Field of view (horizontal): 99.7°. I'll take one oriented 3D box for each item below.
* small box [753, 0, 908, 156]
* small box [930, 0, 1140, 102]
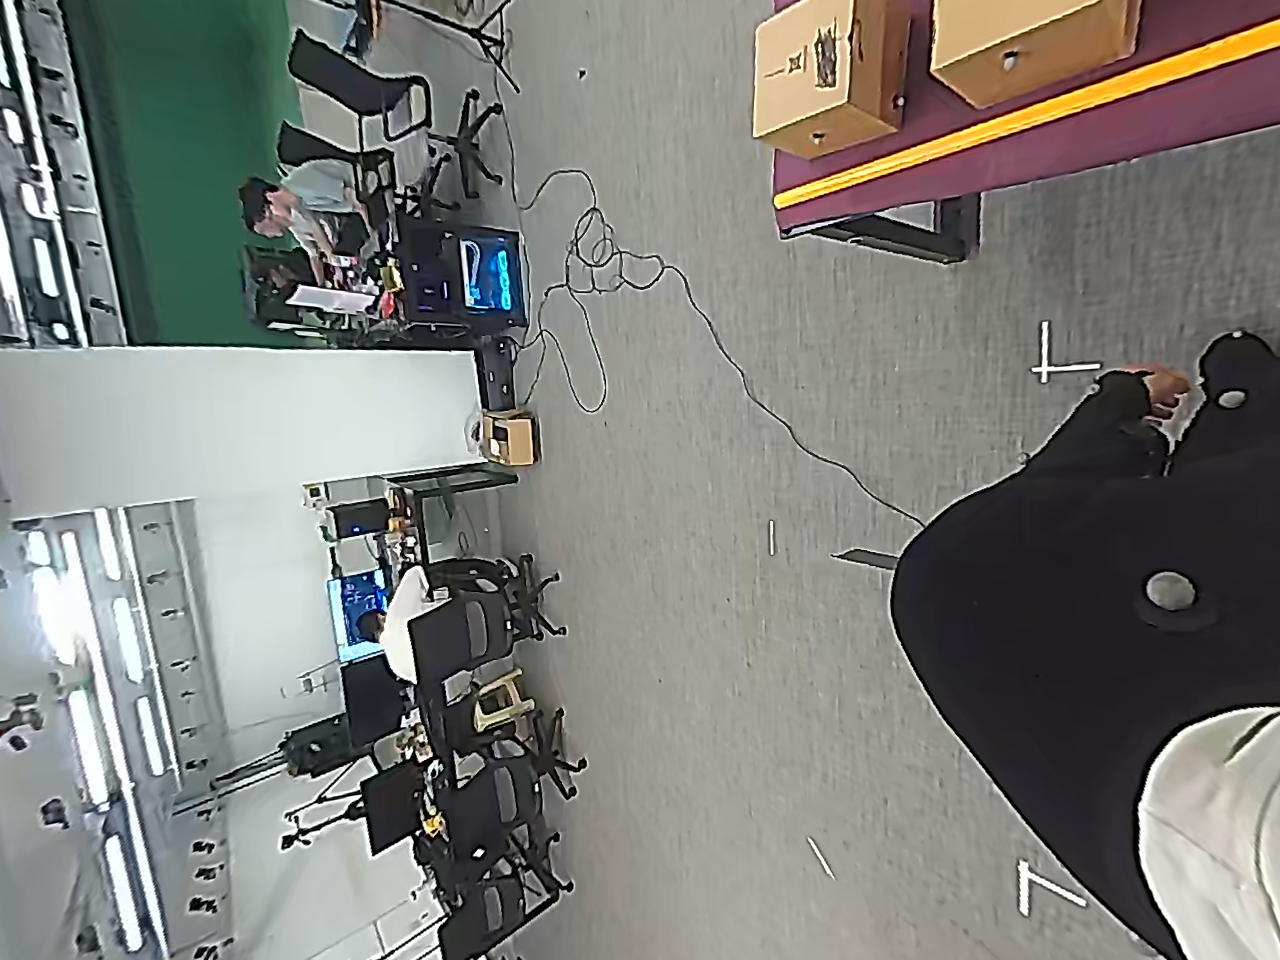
[{"bbox_3d":[0.305,-0.647,0.869,0.179,0.176,0.168,16,111,49],"label":"small box"},{"bbox_3d":[0.485,-0.598,0.655,0.179,0.176,0.168,14,109,51],"label":"small box"}]
